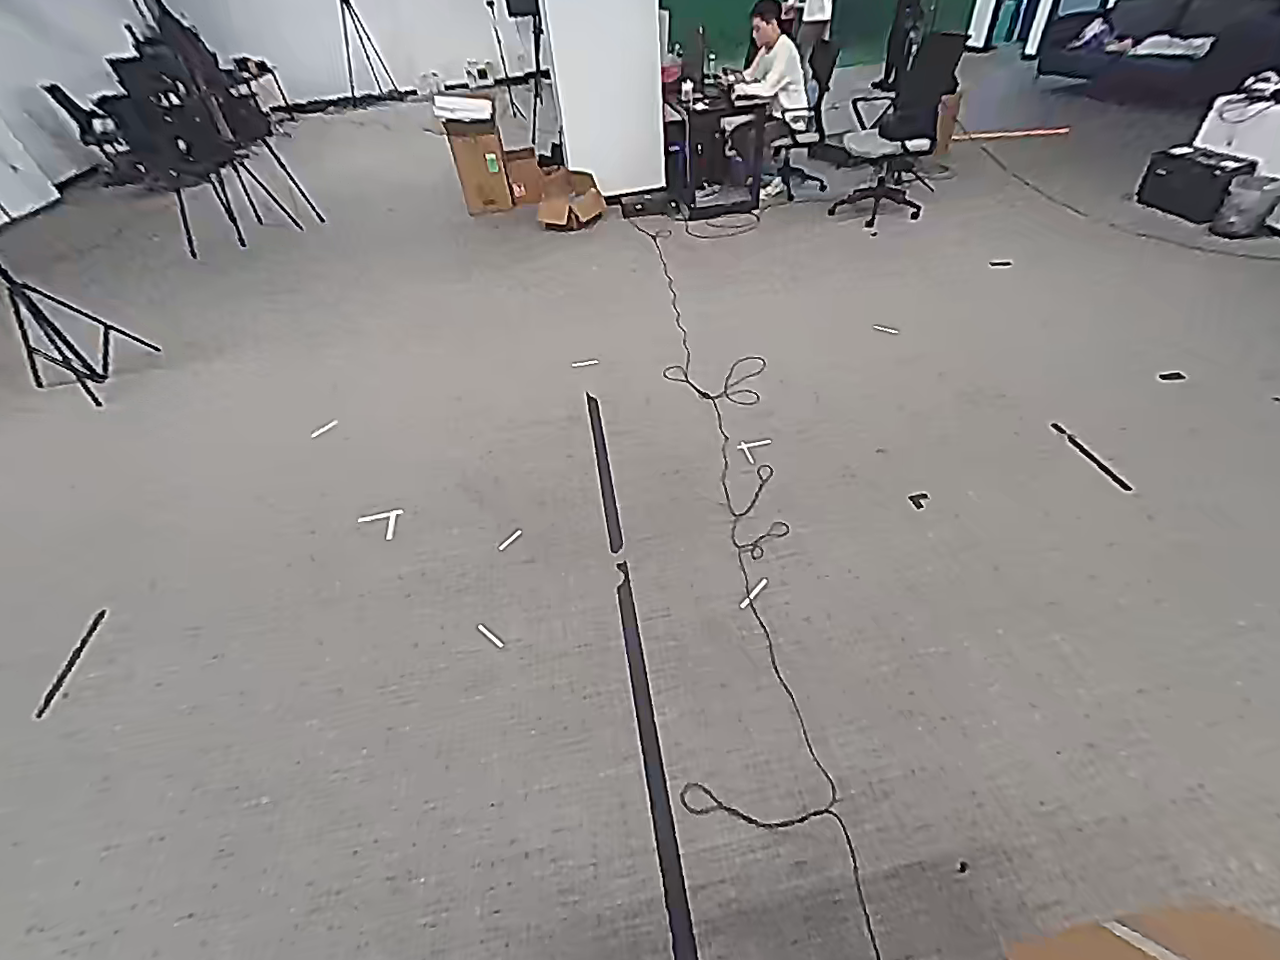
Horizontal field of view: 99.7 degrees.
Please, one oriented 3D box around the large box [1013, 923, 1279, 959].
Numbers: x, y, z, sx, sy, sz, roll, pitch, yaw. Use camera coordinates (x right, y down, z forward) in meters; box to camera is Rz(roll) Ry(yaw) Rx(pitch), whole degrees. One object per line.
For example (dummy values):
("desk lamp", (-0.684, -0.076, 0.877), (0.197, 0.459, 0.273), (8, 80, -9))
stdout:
("large box", (0.669, 0.707, 0.516), (0.320, 0.408, 0.320), (-14, 66, 3))
